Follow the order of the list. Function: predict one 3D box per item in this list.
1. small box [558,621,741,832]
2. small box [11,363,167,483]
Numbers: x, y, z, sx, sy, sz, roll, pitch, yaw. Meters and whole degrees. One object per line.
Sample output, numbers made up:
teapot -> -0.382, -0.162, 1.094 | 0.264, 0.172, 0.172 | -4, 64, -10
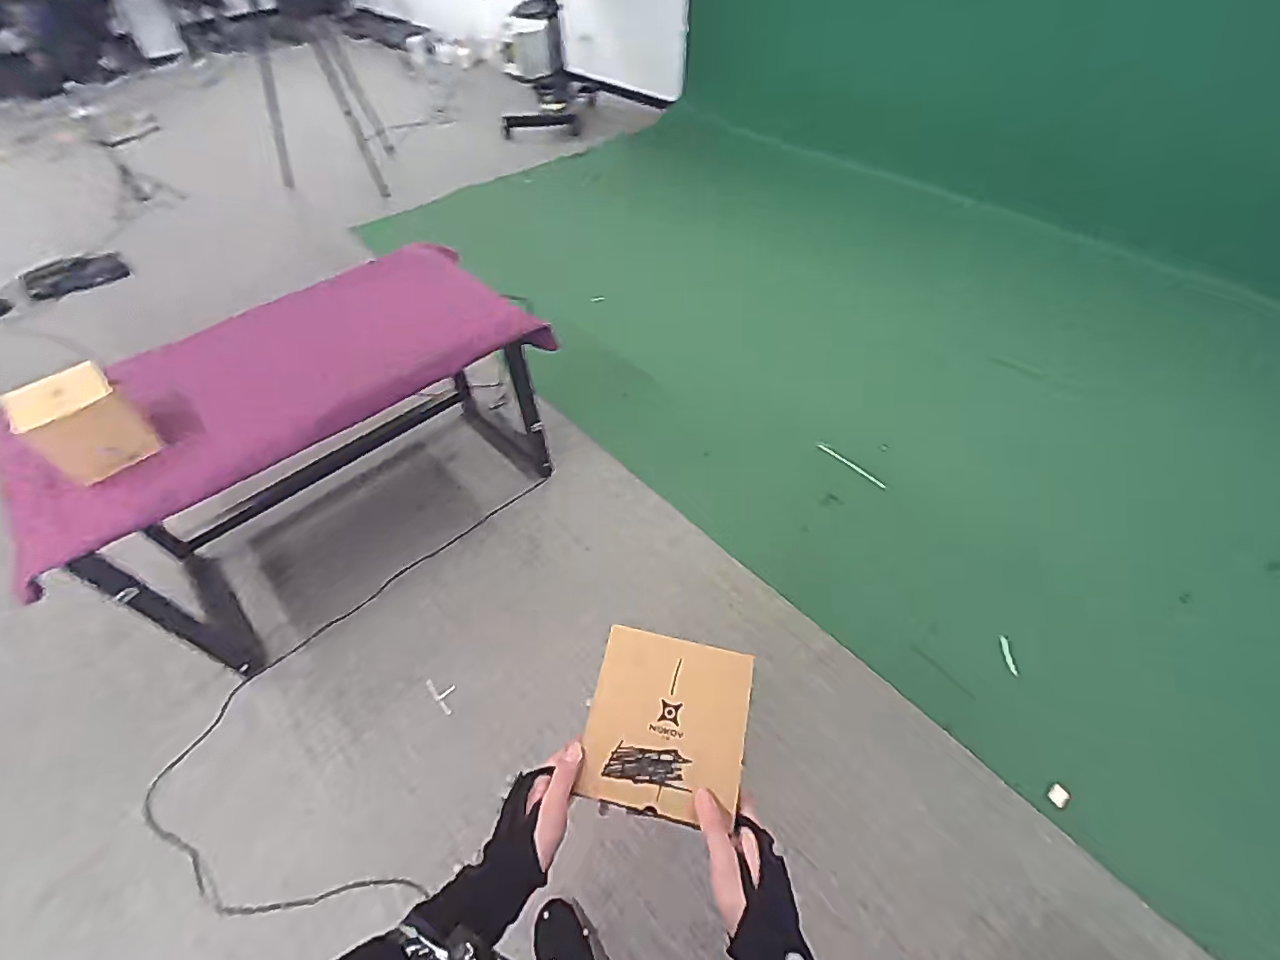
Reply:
small box -> 0.015, 0.291, 0.636 | 0.168, 0.176, 0.179 | 11, 59, 5
small box -> -1.216, -0.125, 1.203 | 0.179, 0.176, 0.168 | 37, 60, 28
